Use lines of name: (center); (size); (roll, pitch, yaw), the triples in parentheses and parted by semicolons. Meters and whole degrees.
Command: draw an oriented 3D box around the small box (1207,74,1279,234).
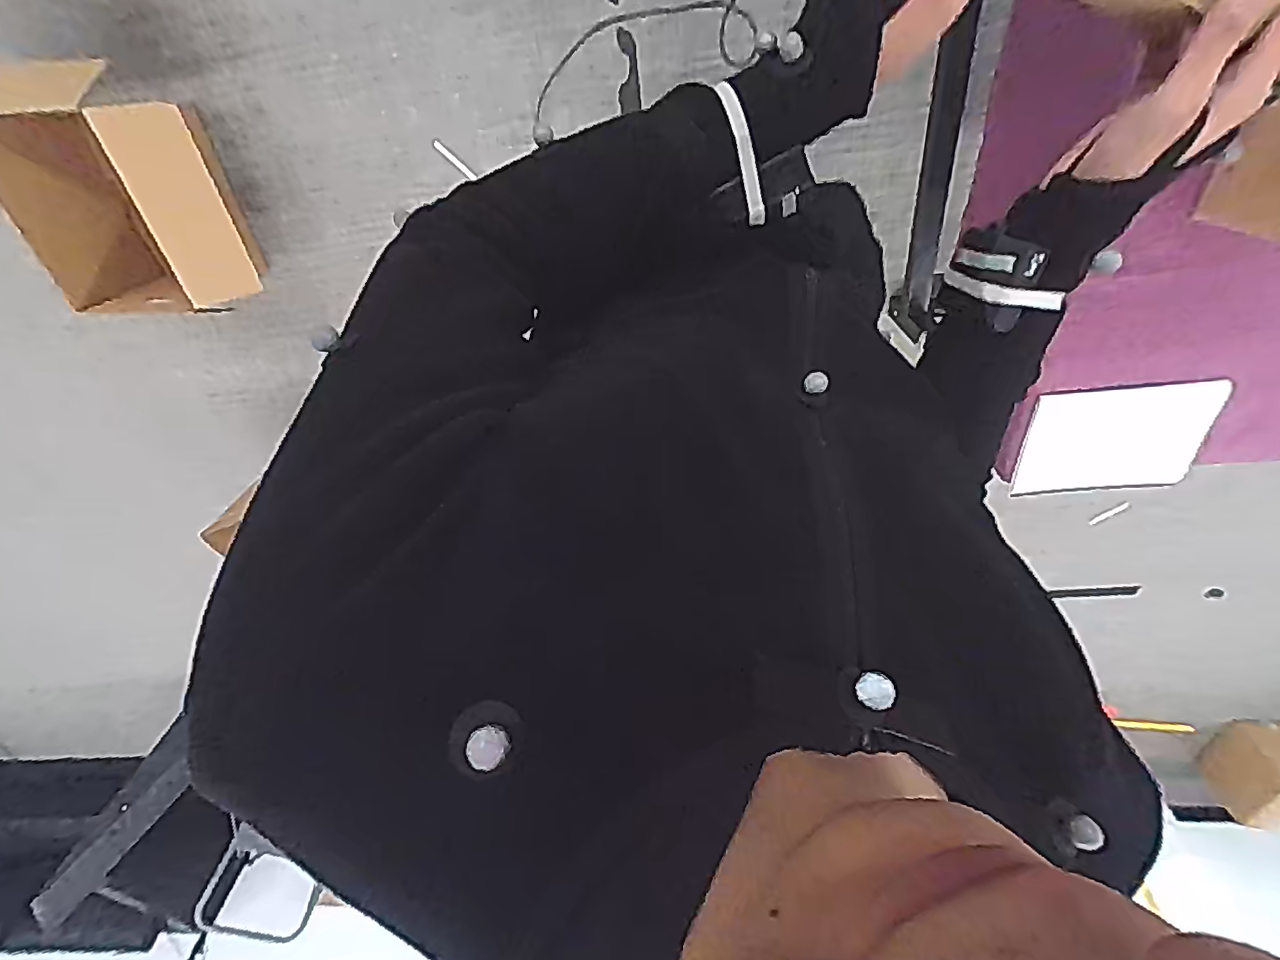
small box: (0.771, -0.350, 0.557); (0.179, 0.176, 0.168); (-3, 127, 5)
